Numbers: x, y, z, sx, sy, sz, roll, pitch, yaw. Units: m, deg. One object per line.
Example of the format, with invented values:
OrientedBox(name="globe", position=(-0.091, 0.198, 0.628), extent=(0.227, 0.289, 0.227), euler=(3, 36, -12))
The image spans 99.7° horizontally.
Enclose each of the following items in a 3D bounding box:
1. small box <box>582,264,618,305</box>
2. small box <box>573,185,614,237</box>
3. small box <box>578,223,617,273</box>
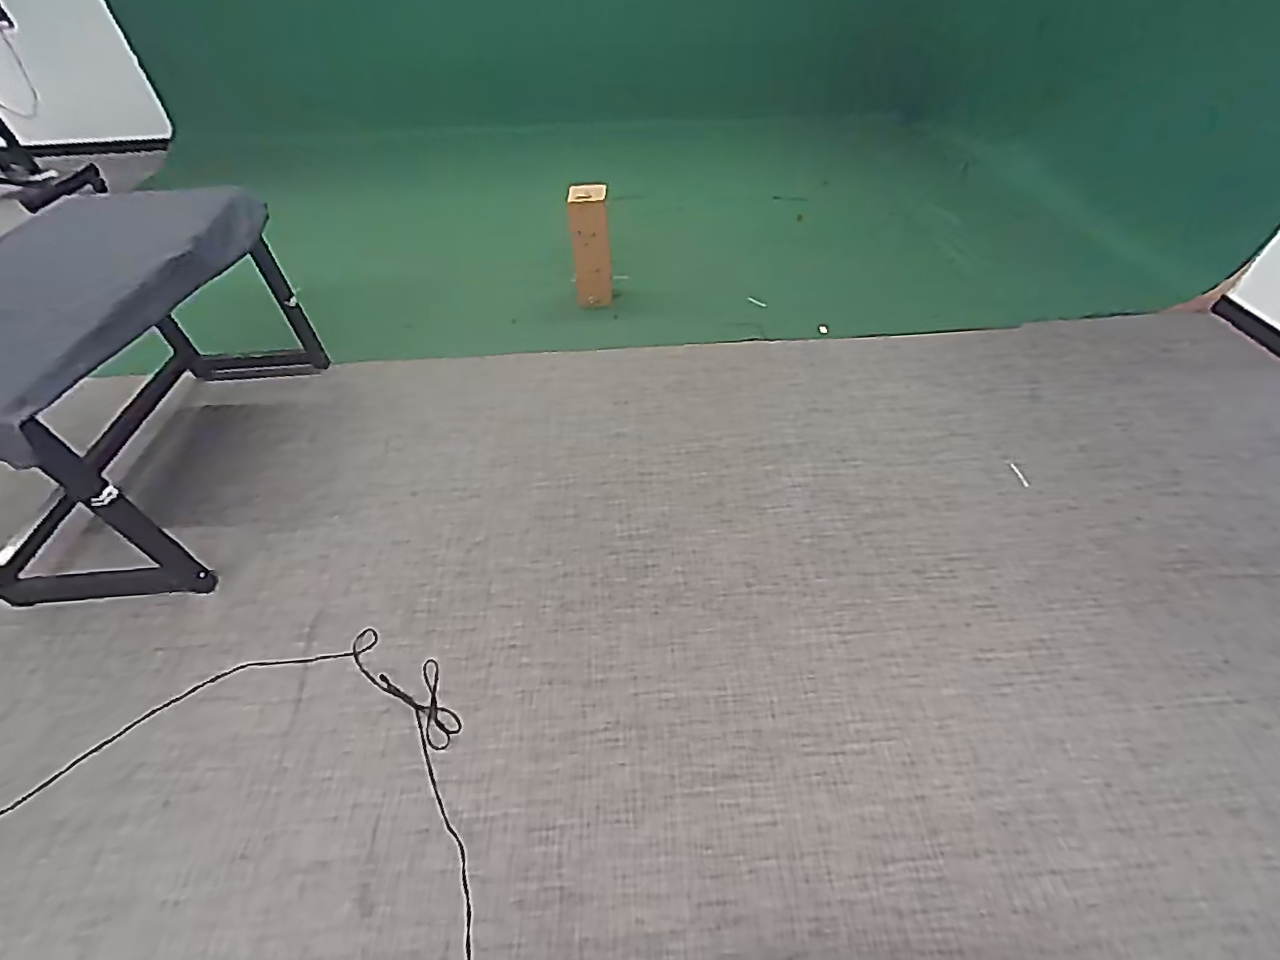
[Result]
OrientedBox(name="small box", position=(-0.197, -0.992, 2.692), extent=(0.168, 0.176, 0.179), euler=(-2, 50, 1))
OrientedBox(name="small box", position=(-0.208, -1.218, 2.454), extent=(0.168, 0.176, 0.179), euler=(-1, 47, 1))
OrientedBox(name="small box", position=(-0.199, -1.104, 2.572), extent=(0.168, 0.176, 0.179), euler=(-2, 47, 2))
